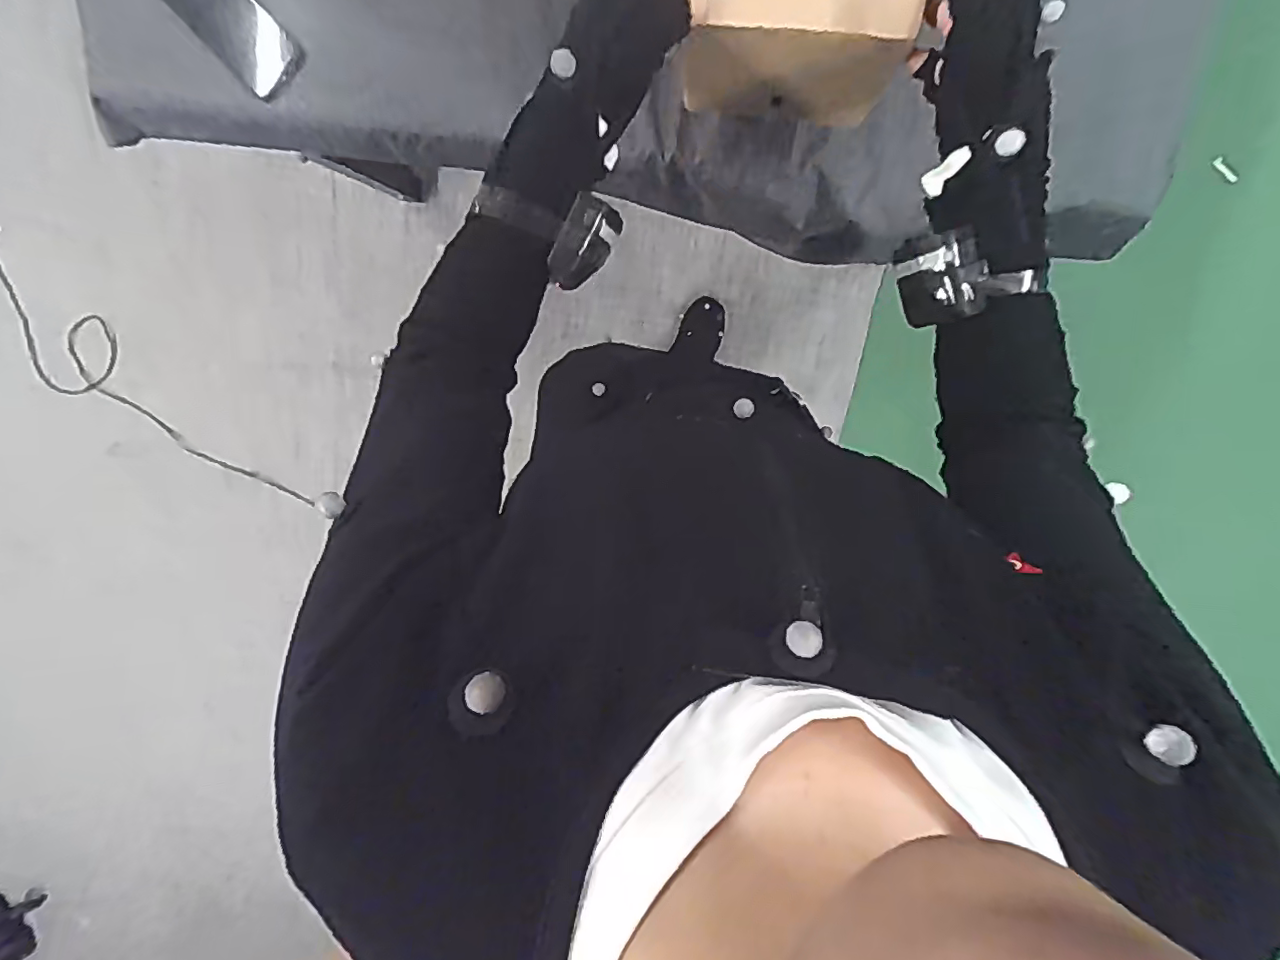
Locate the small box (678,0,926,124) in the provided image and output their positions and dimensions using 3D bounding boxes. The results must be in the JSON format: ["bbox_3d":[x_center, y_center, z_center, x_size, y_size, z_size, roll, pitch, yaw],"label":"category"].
[{"bbox_3d":[0.130,-0.421,0.447,0.179,0.176,0.168,8,105,4],"label":"small box"}]
